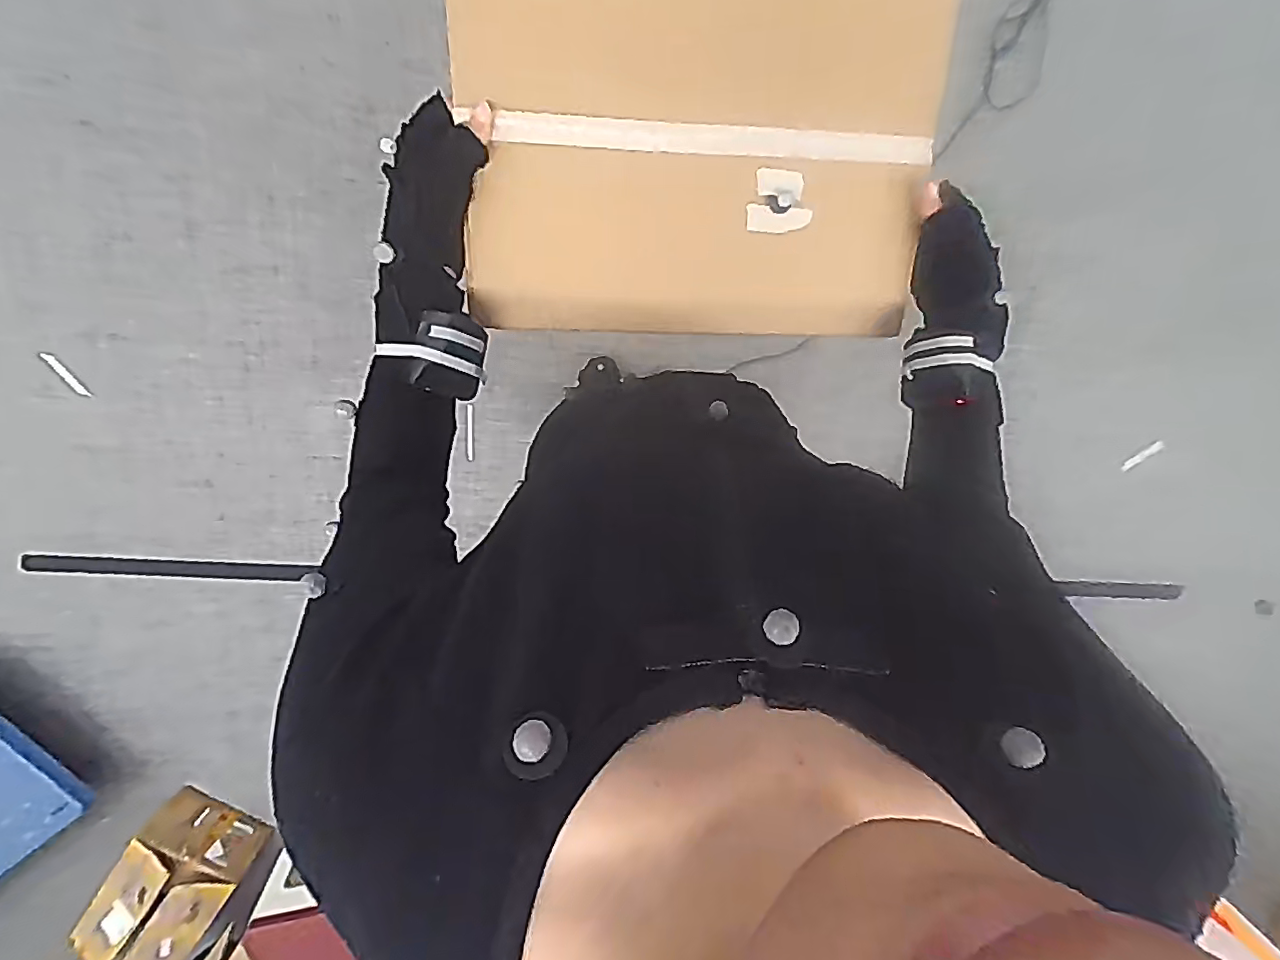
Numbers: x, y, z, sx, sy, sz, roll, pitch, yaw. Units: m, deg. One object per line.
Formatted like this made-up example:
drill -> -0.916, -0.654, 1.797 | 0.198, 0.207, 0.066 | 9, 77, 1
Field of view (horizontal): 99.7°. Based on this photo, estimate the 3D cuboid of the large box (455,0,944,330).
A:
large box -> 0.034, -0.335, 0.599 | 0.408, 0.320, 0.320 | -1, 109, -8
